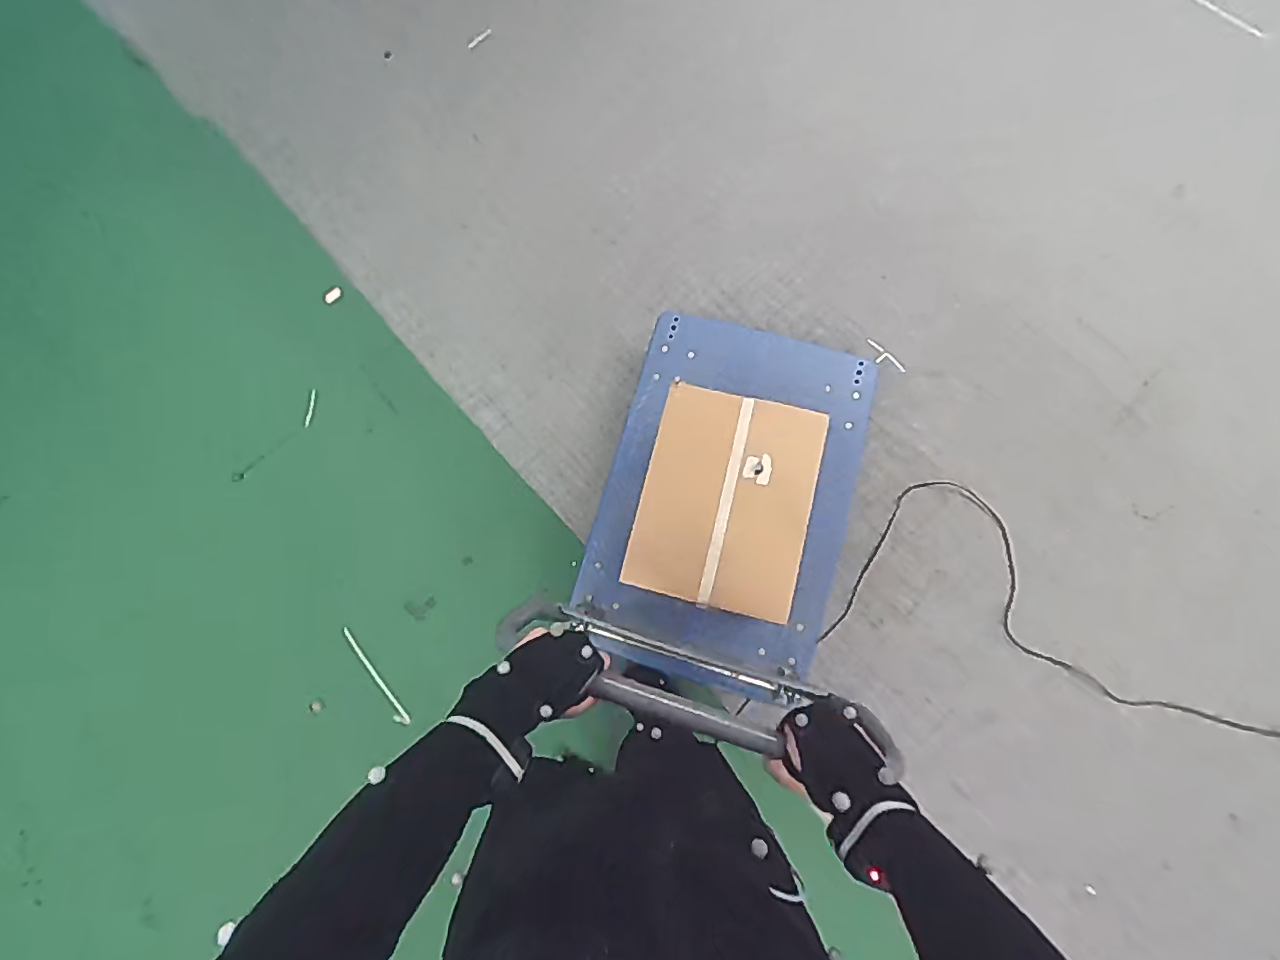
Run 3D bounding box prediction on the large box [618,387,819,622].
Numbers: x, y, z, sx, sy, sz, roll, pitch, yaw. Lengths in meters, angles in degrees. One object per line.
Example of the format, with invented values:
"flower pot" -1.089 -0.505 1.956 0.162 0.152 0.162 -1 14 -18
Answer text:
"large box" 0.163 0.066 1.163 0.320 0.320 0.408 14 80 6
